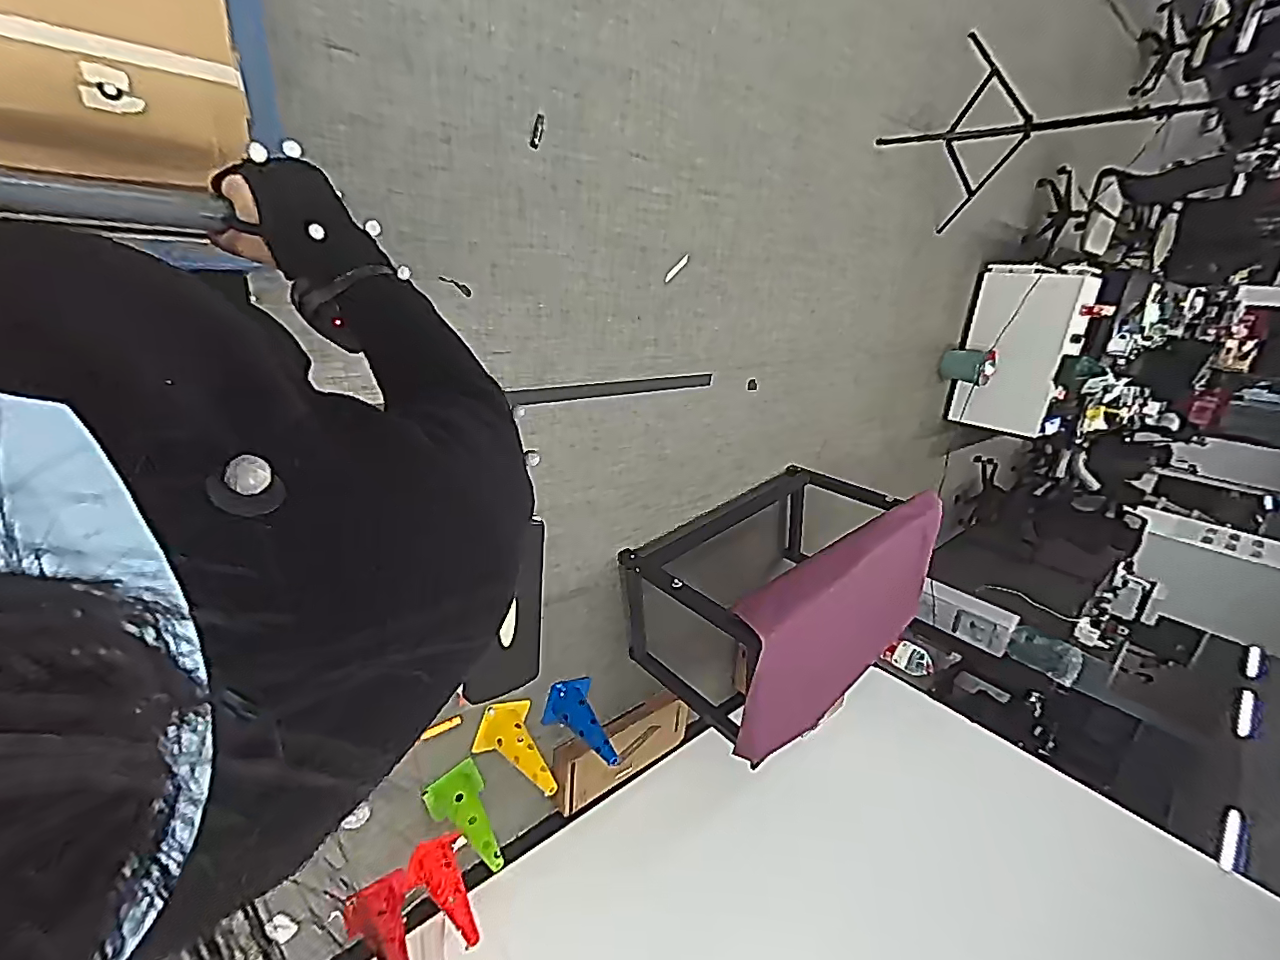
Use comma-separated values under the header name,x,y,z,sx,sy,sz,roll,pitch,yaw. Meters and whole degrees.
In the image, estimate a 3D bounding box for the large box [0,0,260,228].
name,x,y,z,sx,sy,sz,roll,pitch,yaw
large box,-0.788,-0.524,0.708,0.408,0.320,0.320,-14,116,-39
